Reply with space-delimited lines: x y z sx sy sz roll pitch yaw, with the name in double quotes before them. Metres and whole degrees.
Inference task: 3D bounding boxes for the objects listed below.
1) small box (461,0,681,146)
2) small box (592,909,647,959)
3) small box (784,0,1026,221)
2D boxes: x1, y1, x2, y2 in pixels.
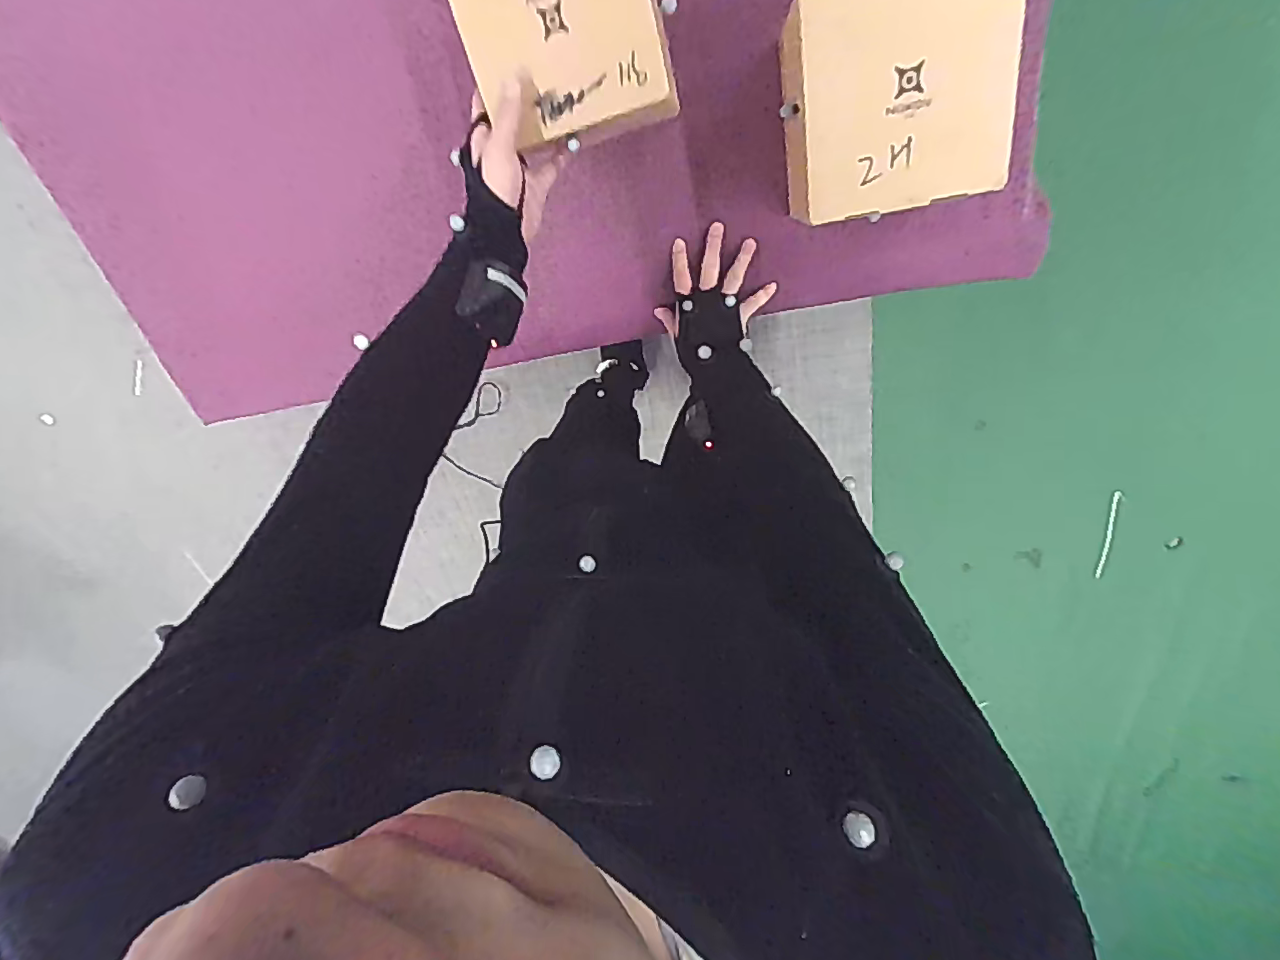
"small box" -0.059 -0.439 0.511 0.168 0.176 0.179 -9 118 13
"small box" -0.069 1.646 1.891 0.168 0.176 0.179 0 119 7
"small box" 0.231 -0.359 0.515 0.168 0.176 0.179 -5 118 12
